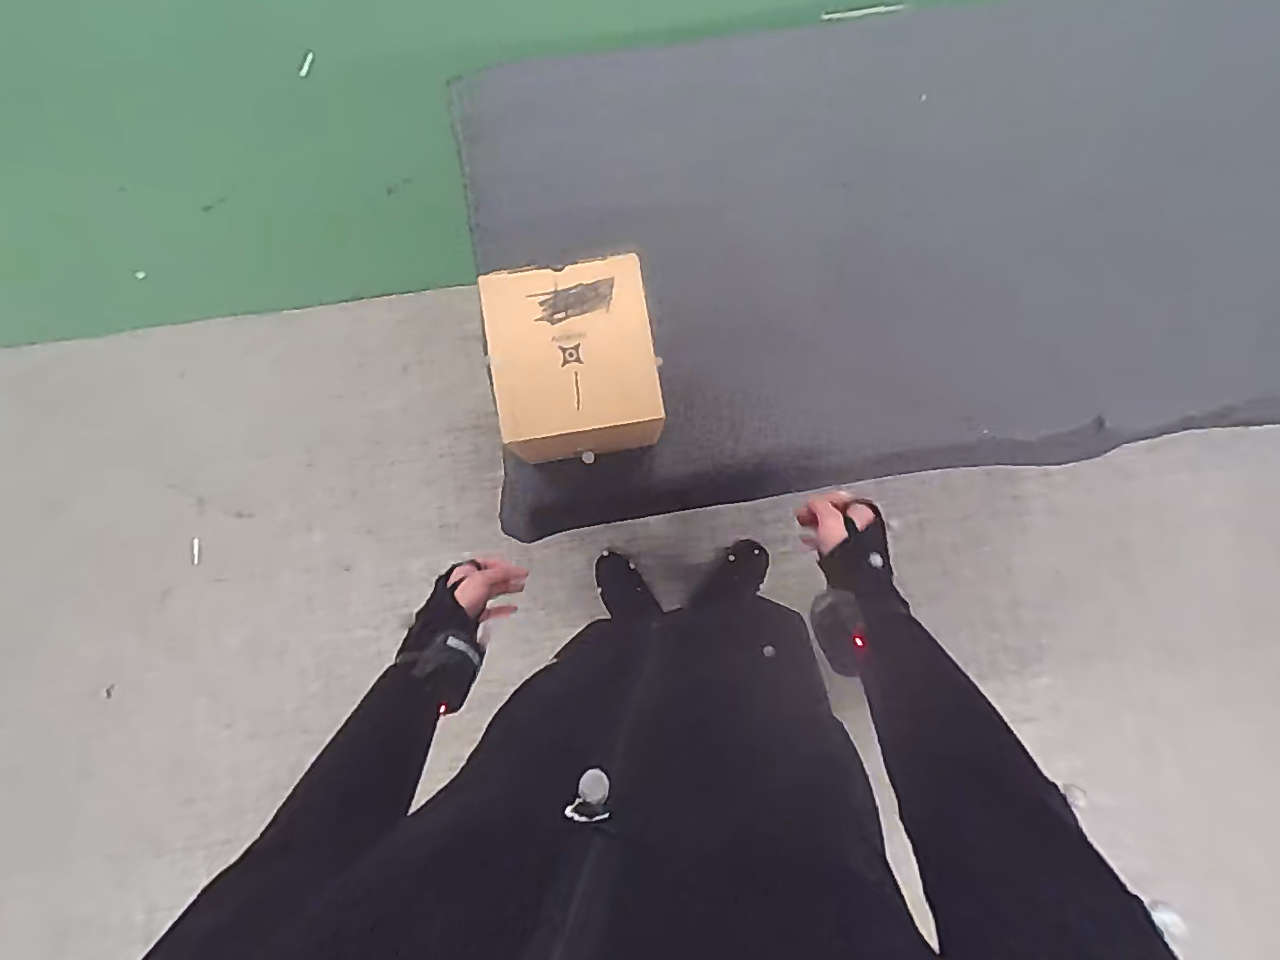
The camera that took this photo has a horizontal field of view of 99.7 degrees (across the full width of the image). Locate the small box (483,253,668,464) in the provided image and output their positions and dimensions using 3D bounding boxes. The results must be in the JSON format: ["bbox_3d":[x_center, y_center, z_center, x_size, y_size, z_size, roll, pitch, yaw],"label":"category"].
[{"bbox_3d":[-0.068,-0.125,0.613,0.168,0.176,0.179,-9,85,-2],"label":"small box"}]
